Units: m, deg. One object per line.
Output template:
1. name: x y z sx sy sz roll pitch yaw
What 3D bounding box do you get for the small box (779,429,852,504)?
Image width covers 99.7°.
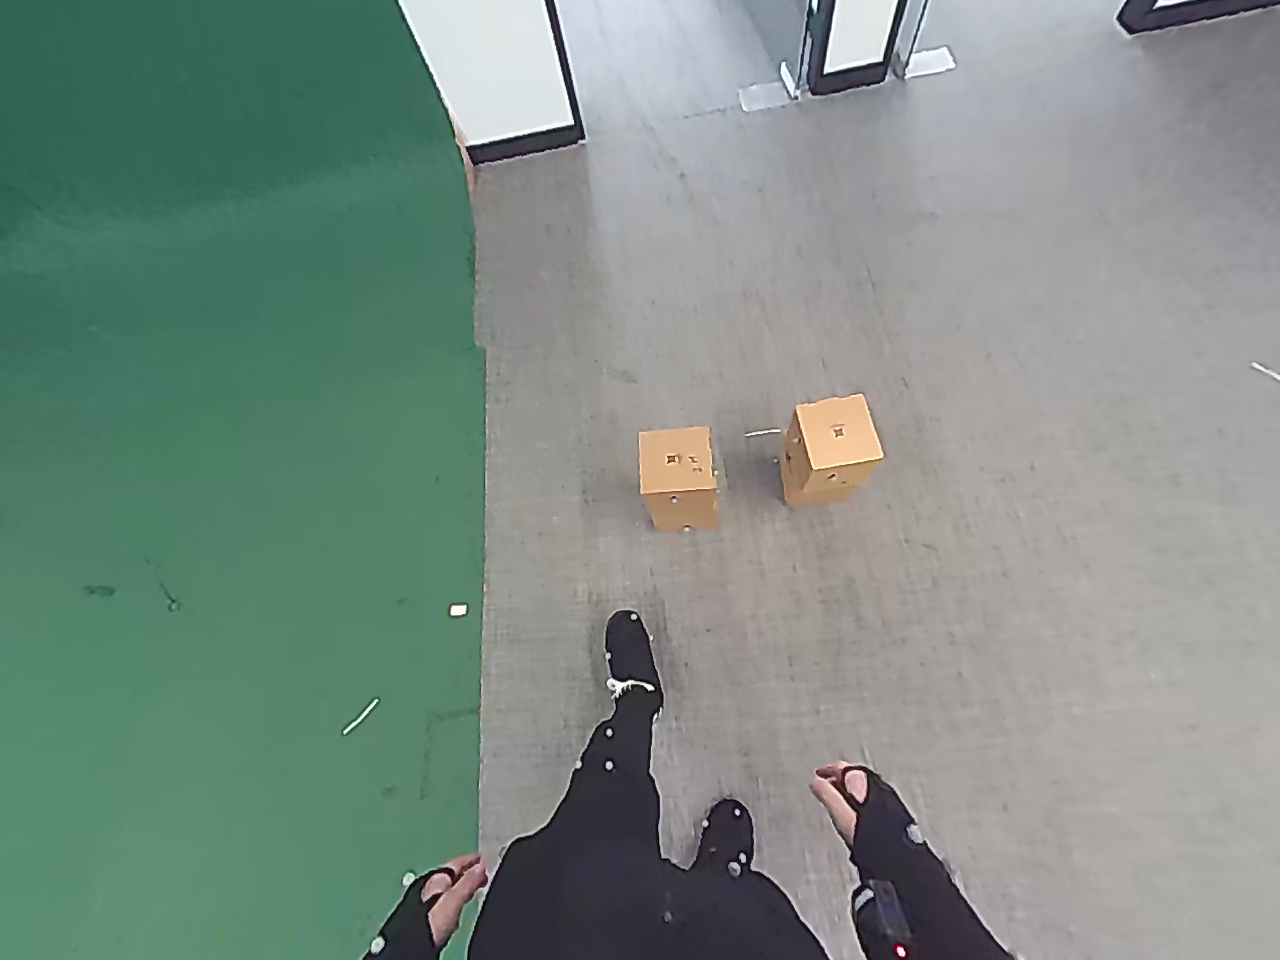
1. small box: 0.486 -0.041 1.494 0.179 0.176 0.168 -6 68 5

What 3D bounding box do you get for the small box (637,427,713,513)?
1. small box: 0.092 -0.019 1.362 0.179 0.176 0.168 -4 69 6

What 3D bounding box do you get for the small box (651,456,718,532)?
1. small box: 0.121 0.041 1.514 0.179 0.176 0.168 -5 68 5

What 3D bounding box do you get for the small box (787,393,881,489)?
1. small box: 0.471 -0.087 1.339 0.168 0.176 0.179 -11 67 4
